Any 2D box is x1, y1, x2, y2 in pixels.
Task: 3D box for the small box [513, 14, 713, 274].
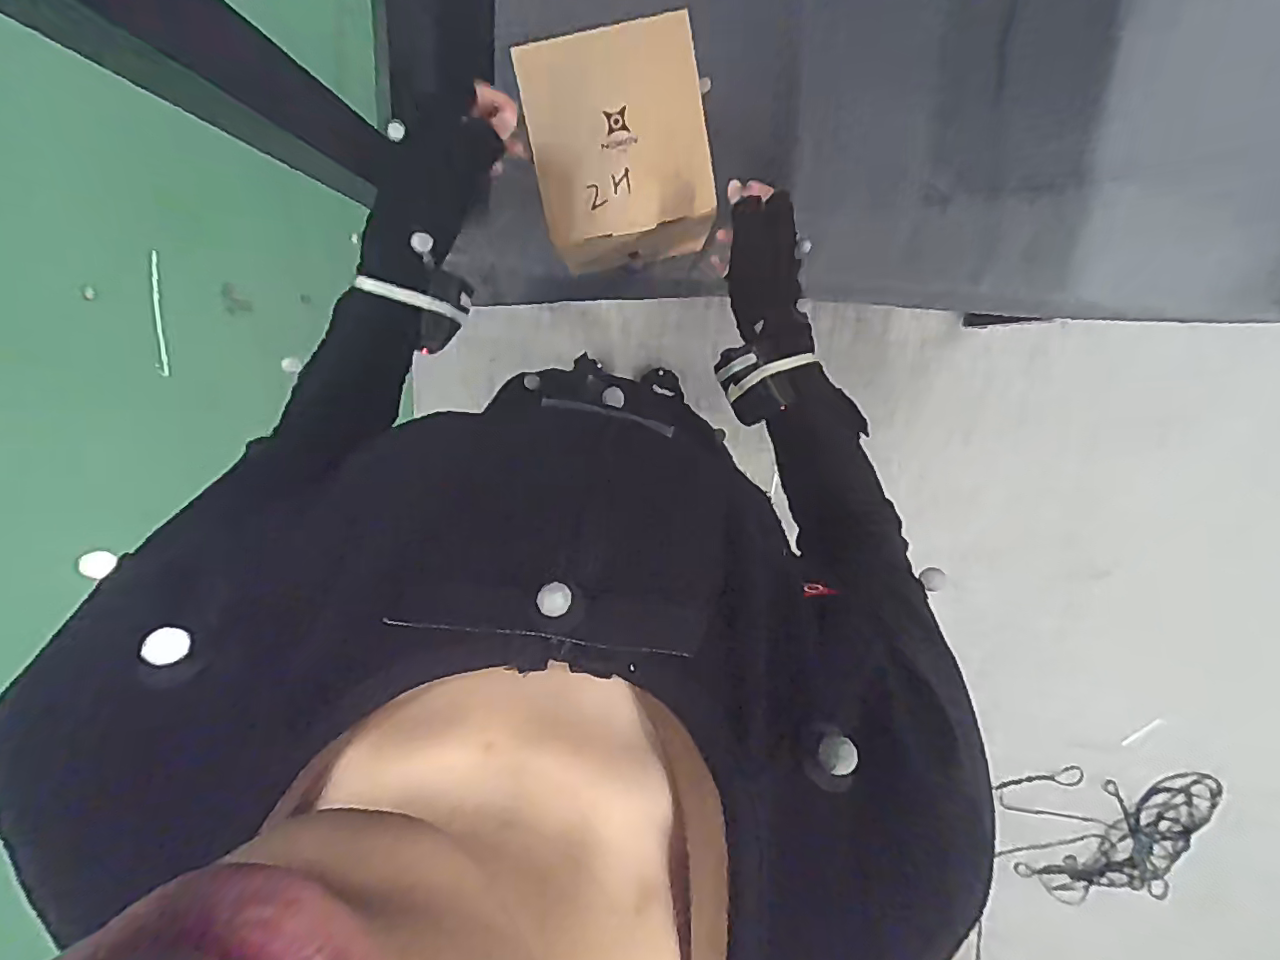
[{"bbox_3d":[-0.023,-0.341,0.586,0.168,0.176,0.179,-10,102,3],"label":"small box"}]
